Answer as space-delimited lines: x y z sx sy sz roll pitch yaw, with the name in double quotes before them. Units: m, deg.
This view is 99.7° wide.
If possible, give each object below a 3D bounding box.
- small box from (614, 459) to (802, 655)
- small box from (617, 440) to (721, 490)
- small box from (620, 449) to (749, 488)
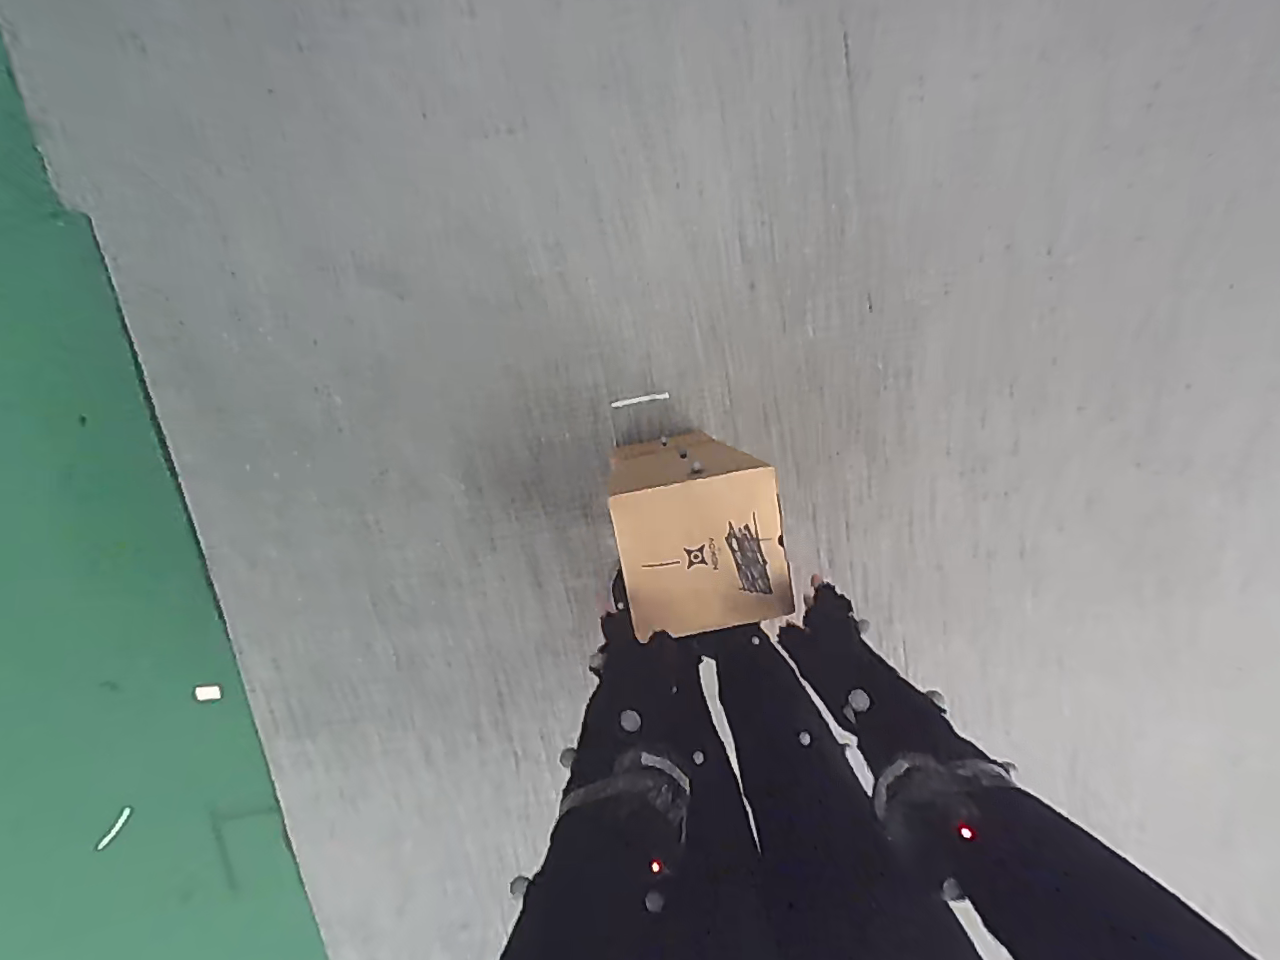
"small box" 0.070 0.078 0.648 0.179 0.176 0.168 -14 99 0
"small box" 0.059 0.026 0.971 0.179 0.176 0.168 -11 98 2
"small box" 0.069 0.054 0.810 0.179 0.176 0.168 -11 99 0
